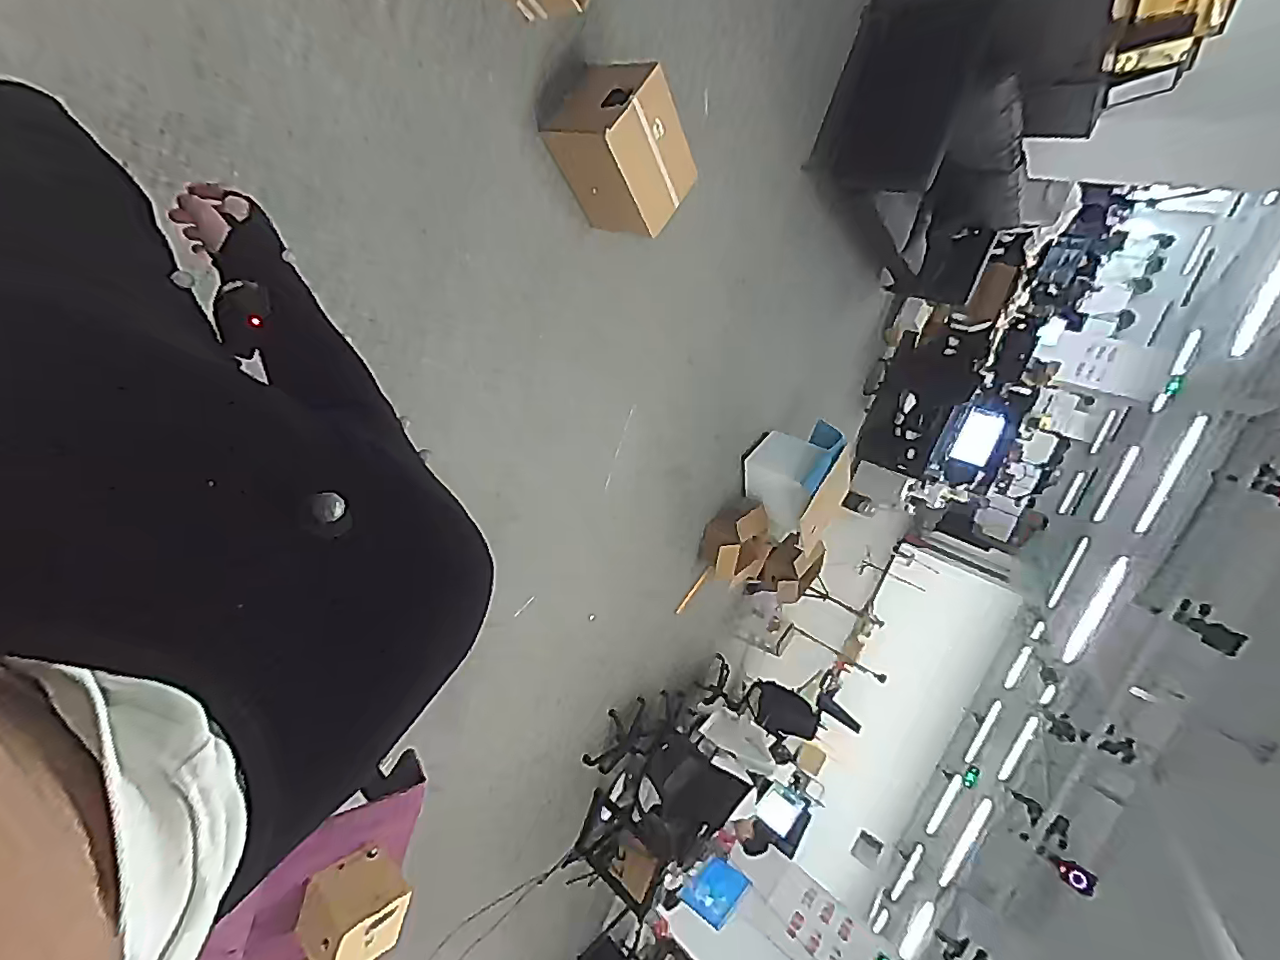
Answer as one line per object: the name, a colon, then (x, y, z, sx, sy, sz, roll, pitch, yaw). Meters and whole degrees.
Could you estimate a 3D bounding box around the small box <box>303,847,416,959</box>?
small box: (-0.669, 1.020, 1.284, 0.168, 0.176, 0.179, 3, 110, -55)

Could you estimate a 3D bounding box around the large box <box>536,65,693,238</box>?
large box: (-0.077, -1.117, 1.866, 0.320, 0.320, 0.408, -58, 146, -10)
